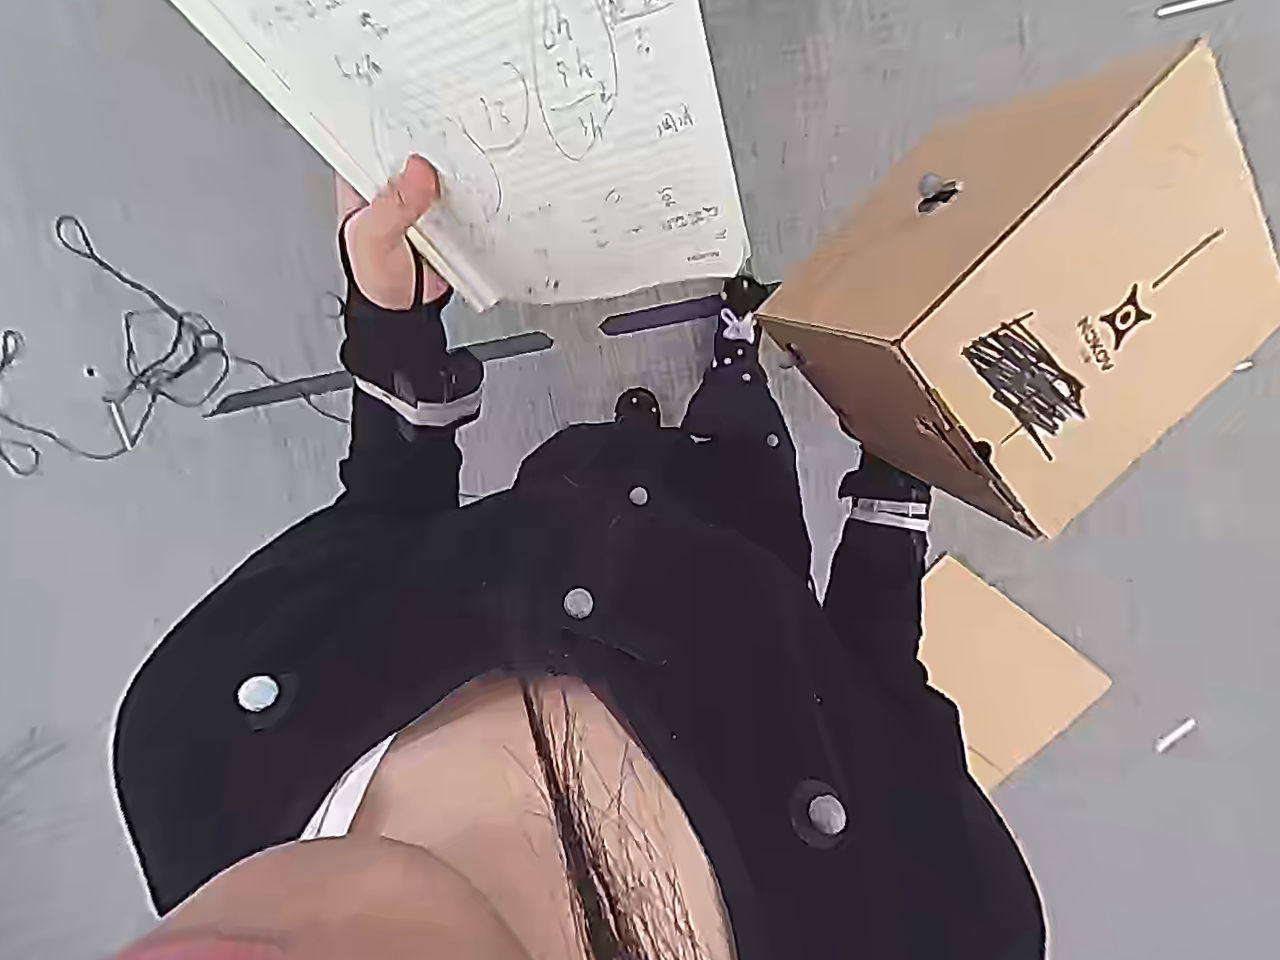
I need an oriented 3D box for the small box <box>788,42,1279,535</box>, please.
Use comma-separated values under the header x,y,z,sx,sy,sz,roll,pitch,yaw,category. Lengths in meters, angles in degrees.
x,y,z,sx,sy,sz,roll,pitch,yaw,category
0.219,-0.104,0.342,0.168,0.176,0.179,41,97,-23,small box
